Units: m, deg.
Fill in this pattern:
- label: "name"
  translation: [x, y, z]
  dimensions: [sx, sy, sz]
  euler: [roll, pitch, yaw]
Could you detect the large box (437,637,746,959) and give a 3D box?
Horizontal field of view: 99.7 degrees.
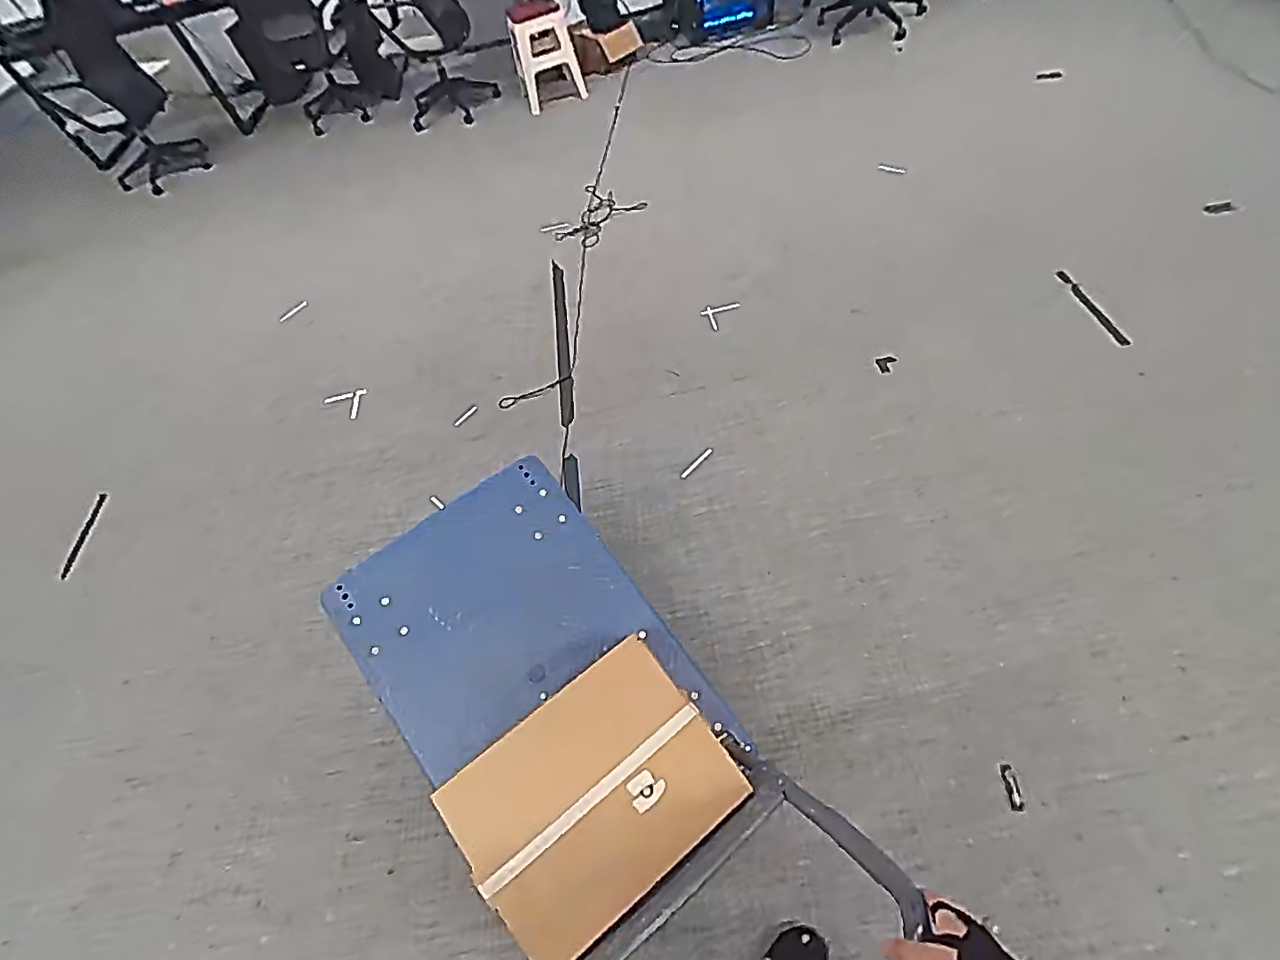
- label: "large box"
  translation: [-0.083, 0.548, 0.995]
  dimensions: [0.408, 0.320, 0.320]
  euler: [-36, 78, -15]
